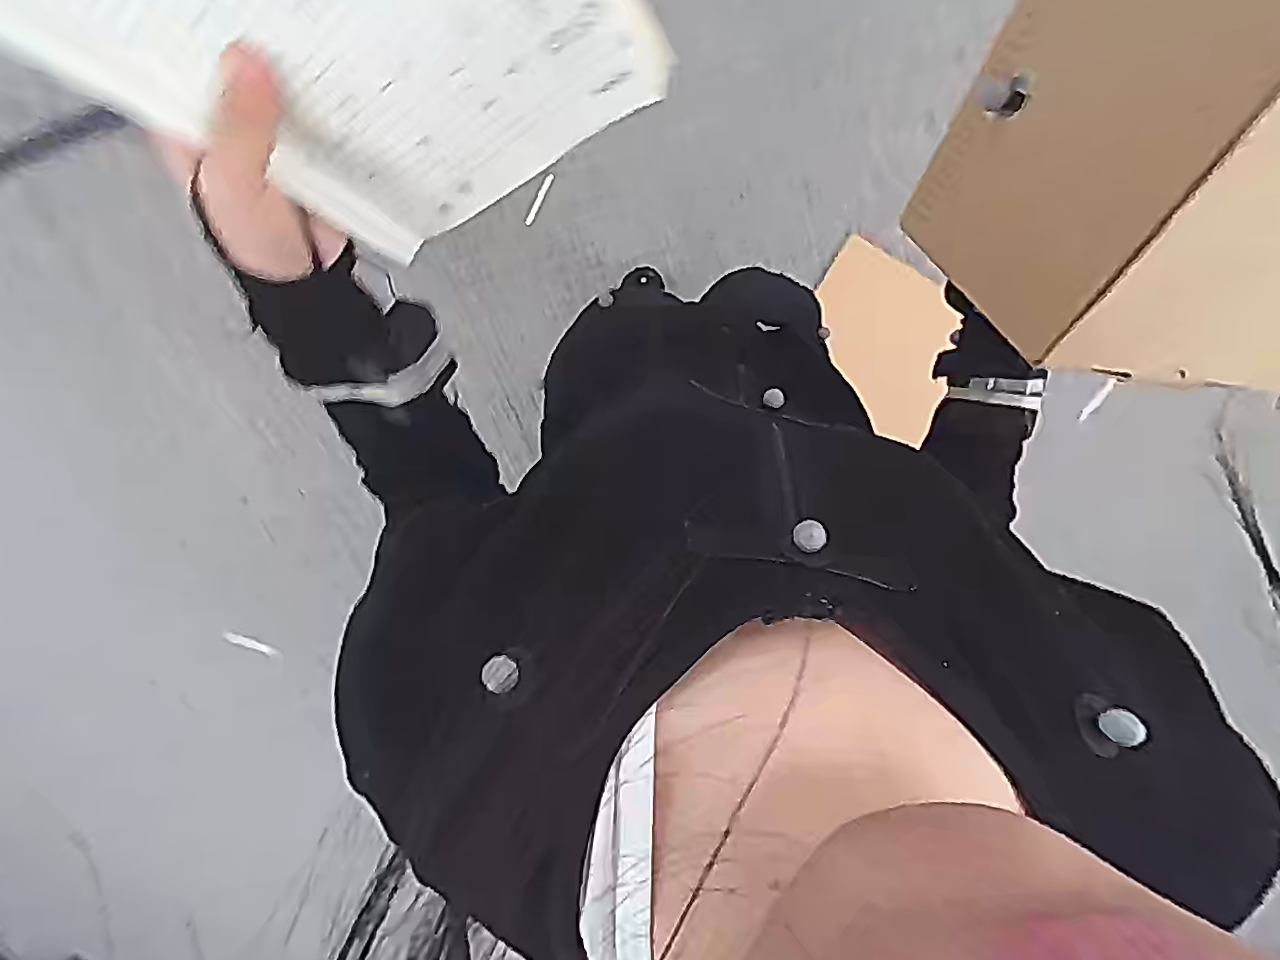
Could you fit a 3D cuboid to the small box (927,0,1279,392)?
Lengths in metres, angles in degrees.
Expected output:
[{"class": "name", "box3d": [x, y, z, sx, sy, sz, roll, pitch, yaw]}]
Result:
[{"class": "small box", "box3d": [0.283, -0.170, 0.274, 0.168, 0.176, 0.179, 2, 138, -12]}]

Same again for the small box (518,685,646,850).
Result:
[{"class": "small box", "box3d": [-0.093, 0.503, 0.958, 0.168, 0.176, 0.179, -19, 111, 5]}]
